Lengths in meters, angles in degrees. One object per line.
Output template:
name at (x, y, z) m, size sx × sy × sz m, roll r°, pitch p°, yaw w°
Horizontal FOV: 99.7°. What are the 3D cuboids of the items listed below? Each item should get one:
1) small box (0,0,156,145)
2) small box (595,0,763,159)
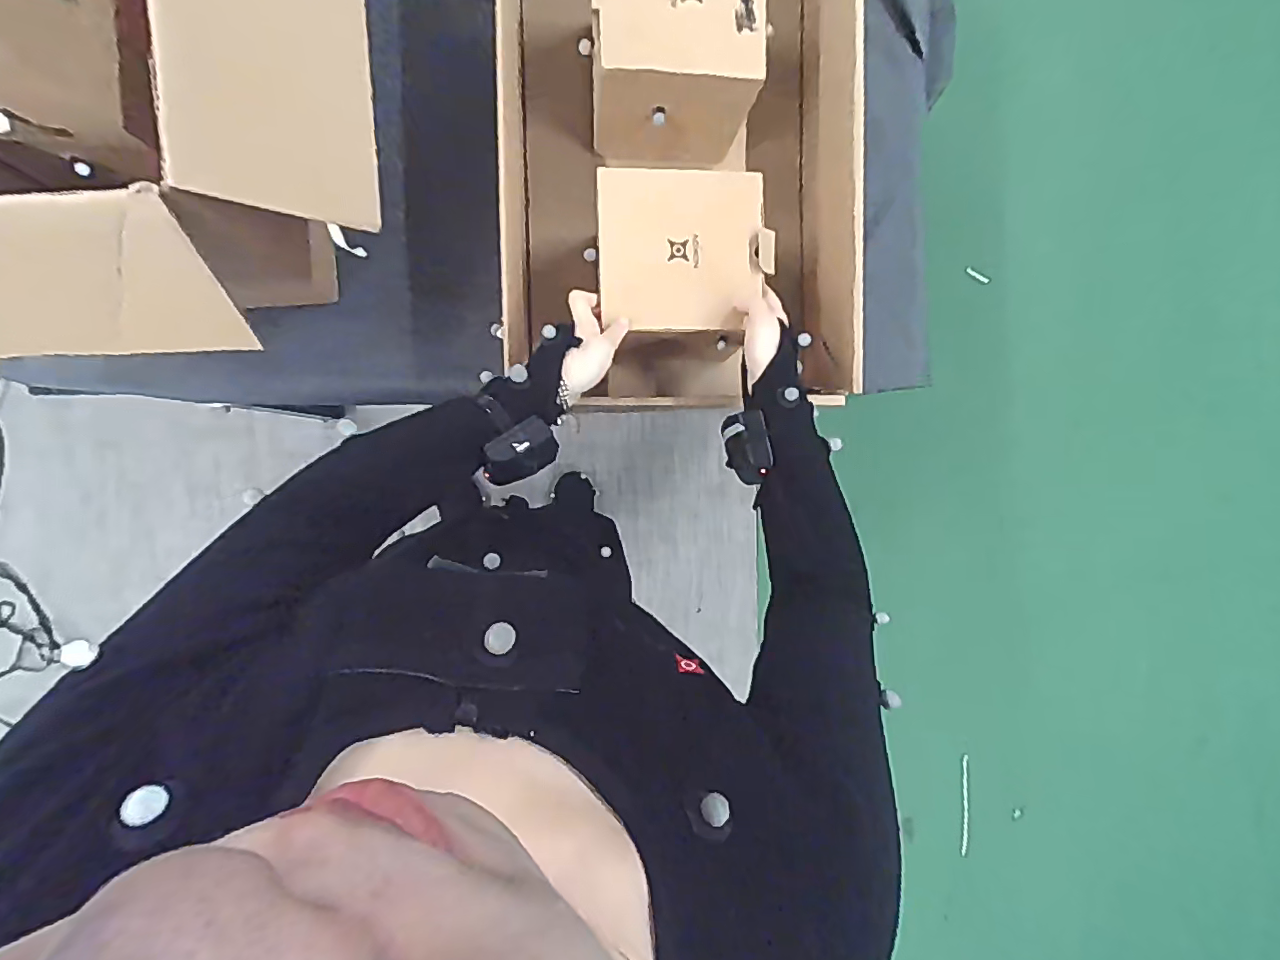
small box at (-0.533, -0.406, 0.426) m, size 0.168 × 0.176 × 0.179 m, roll 1°, pitch 95°, yaw -7°
small box at (0.035, -0.502, 0.632) m, size 0.179 × 0.176 × 0.168 m, roll -1°, pitch 95°, yaw -6°
